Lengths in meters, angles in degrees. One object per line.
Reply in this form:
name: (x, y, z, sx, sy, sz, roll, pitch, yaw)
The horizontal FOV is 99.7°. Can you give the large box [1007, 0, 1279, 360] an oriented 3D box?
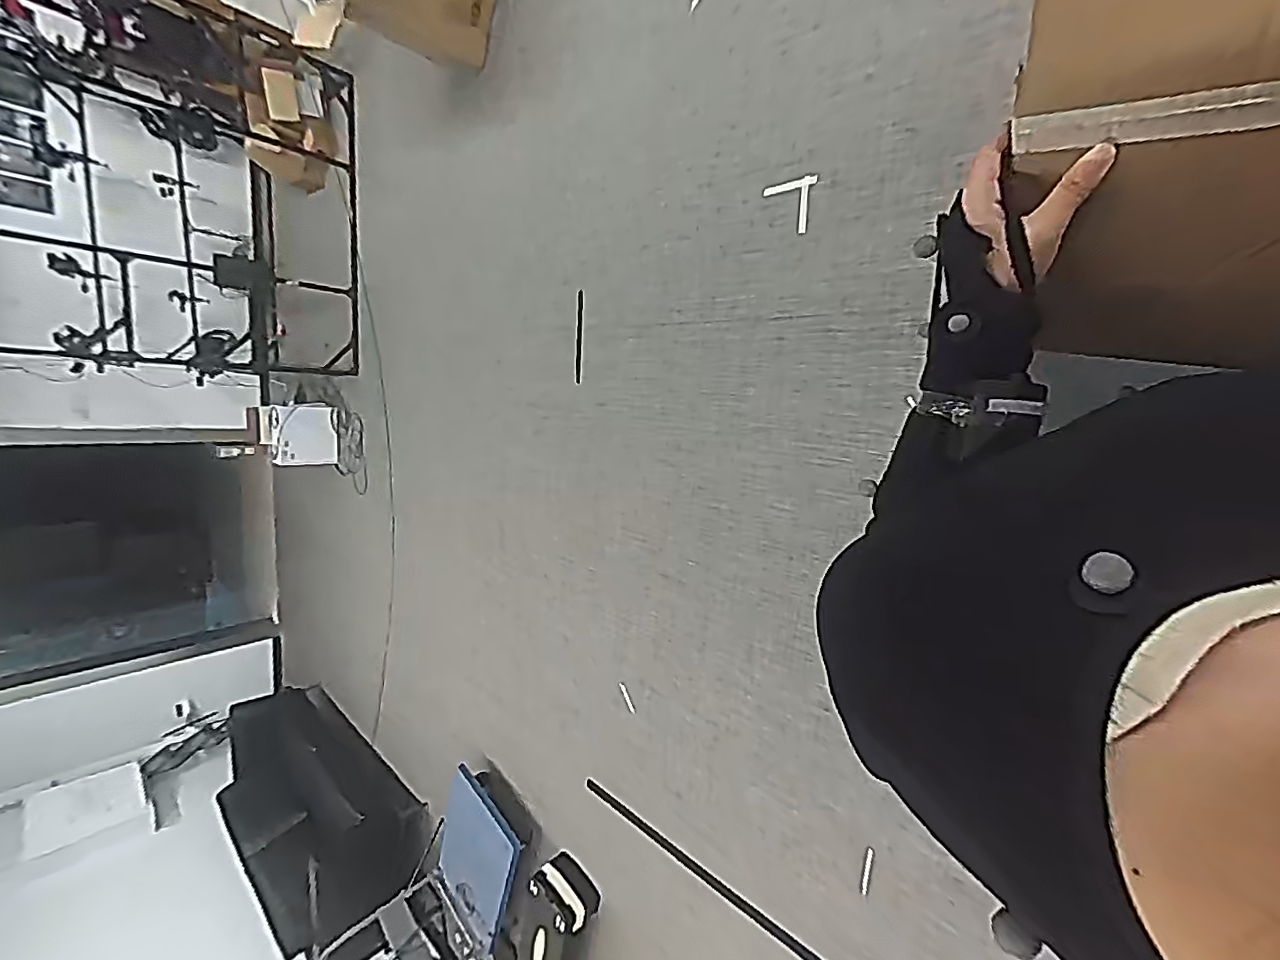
large box: (0.487, -0.272, 0.293, 0.408, 0.320, 0.320, 19, 145, 41)
